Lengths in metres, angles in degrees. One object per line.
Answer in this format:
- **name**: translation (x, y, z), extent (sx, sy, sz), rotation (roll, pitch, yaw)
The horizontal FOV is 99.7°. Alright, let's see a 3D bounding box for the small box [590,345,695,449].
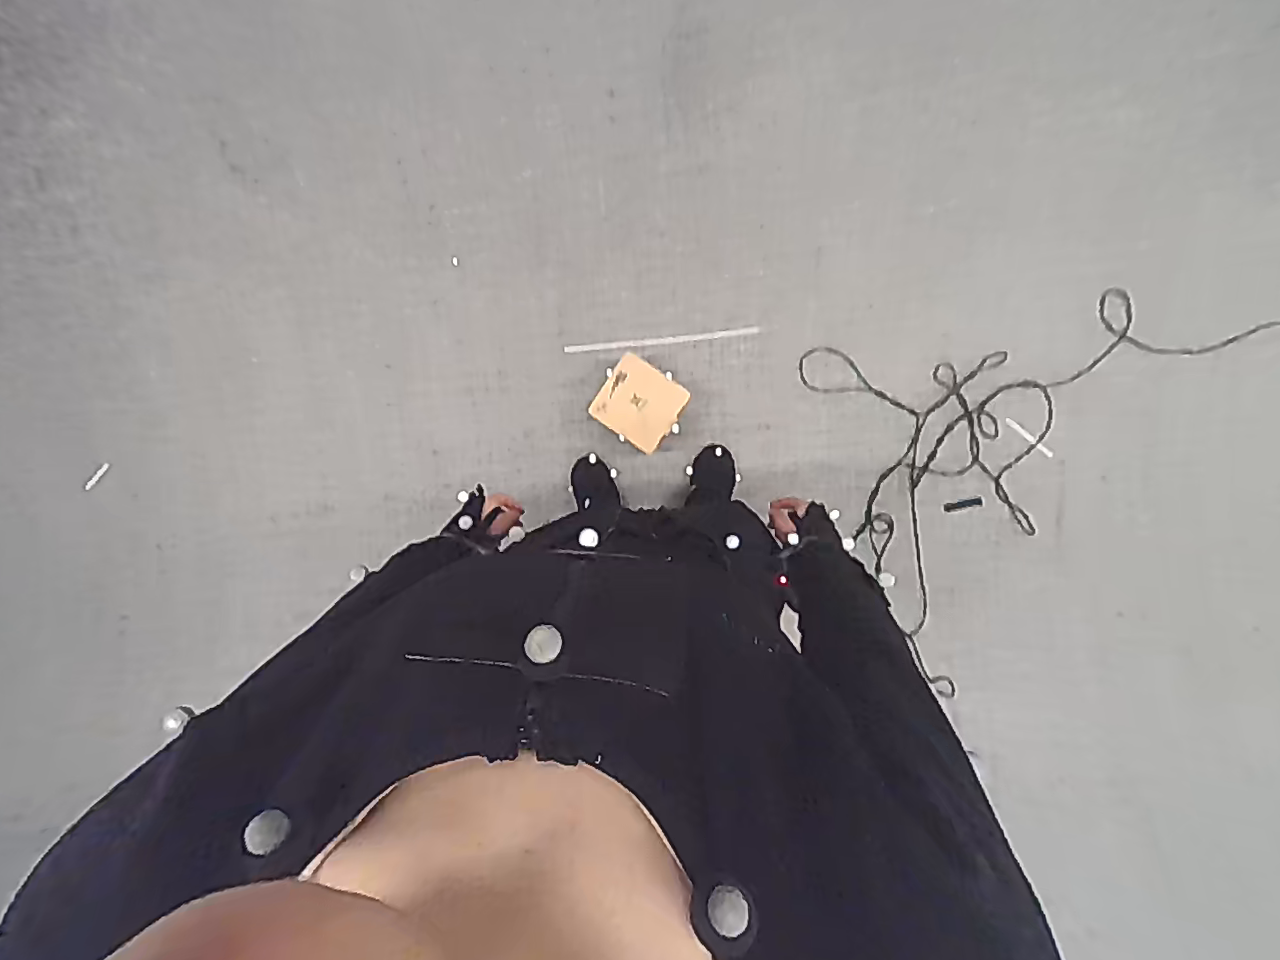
- **small box**: translation (0.011, -0.190, 1.257), extent (0.179, 0.176, 0.168), rotation (35, 97, 0)
